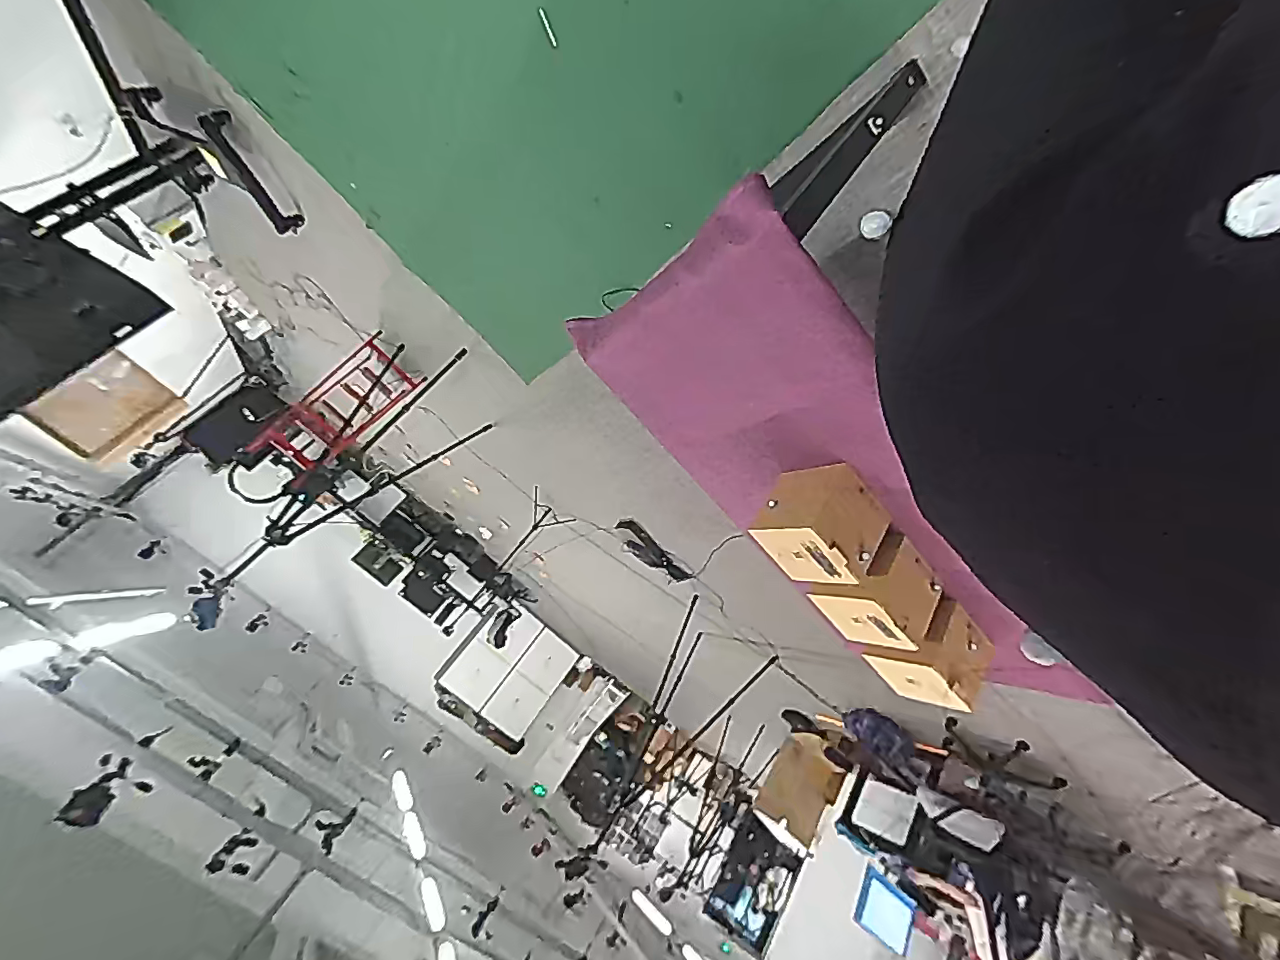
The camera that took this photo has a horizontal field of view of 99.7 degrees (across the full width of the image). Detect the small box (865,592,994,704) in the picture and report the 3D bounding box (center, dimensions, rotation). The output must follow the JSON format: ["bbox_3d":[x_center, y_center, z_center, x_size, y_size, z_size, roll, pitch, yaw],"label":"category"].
[{"bbox_3d":[0.656,0.370,1.223,0.168,0.176,0.179,45,154,-17],"label":"small box"}]
